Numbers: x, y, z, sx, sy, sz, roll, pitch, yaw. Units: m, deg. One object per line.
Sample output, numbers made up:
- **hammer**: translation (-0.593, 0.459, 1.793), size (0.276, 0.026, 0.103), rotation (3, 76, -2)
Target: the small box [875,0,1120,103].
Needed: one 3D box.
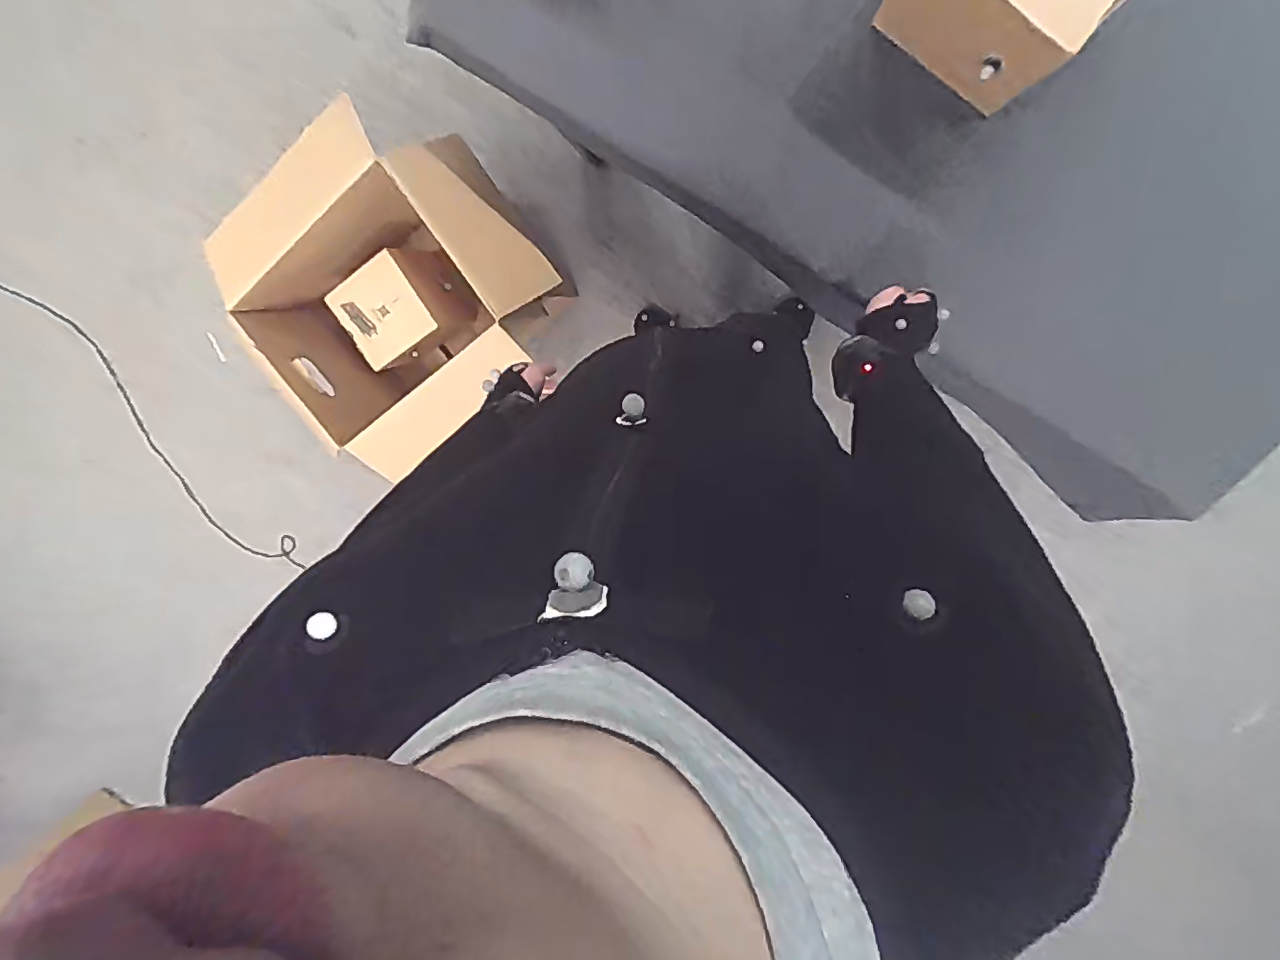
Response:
- **small box**: translation (0.365, -0.505, 0.518), size (0.179, 0.176, 0.168), rotation (35, 108, -3)
